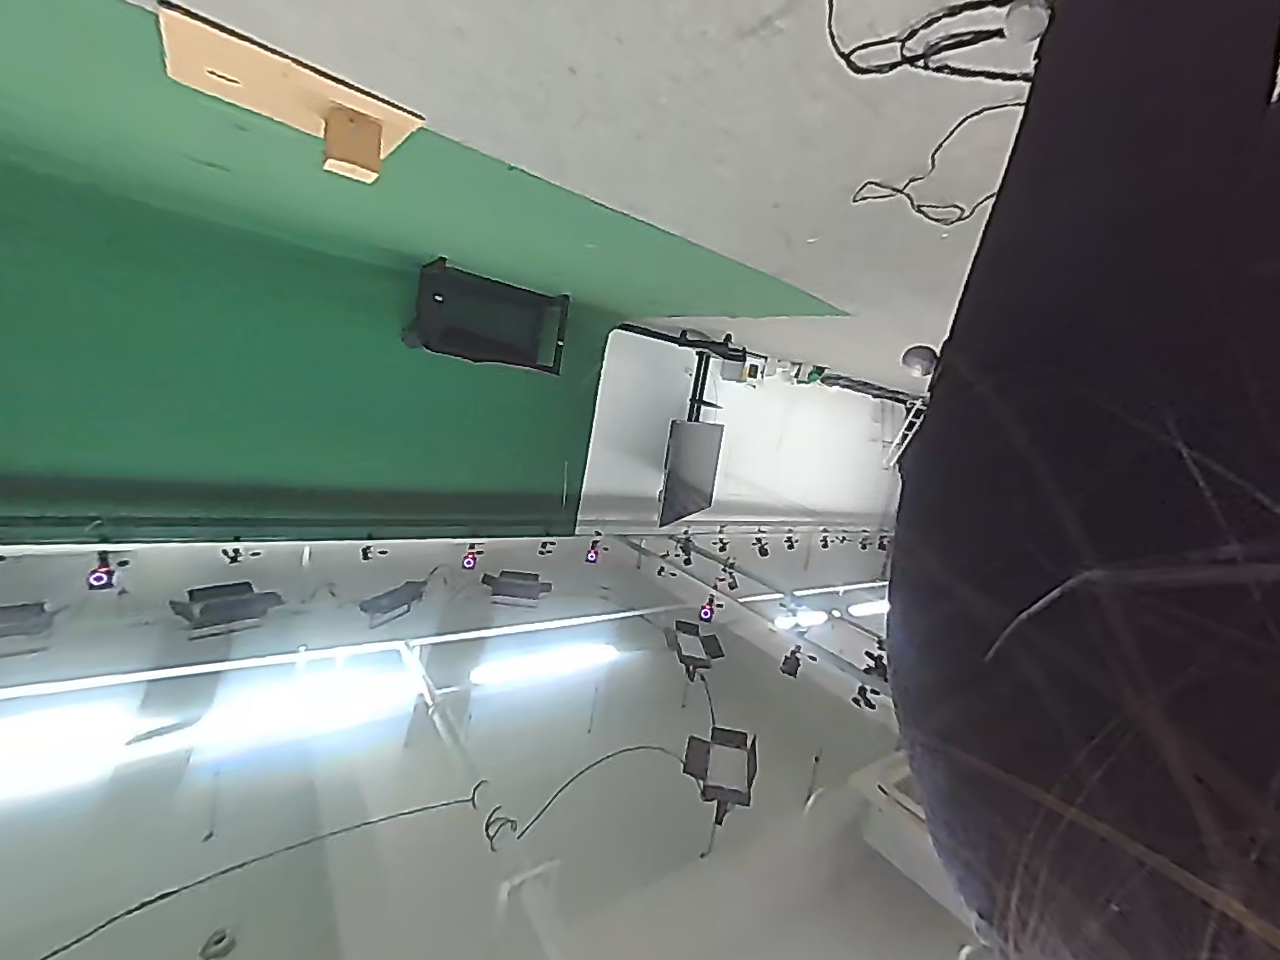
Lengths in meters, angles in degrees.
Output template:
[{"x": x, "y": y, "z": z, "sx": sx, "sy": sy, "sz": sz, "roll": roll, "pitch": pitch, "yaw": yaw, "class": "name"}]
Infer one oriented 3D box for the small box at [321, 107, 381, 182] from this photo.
[{"x": -1.070, "y": -1.238, "z": 2.002, "sx": 0.168, "sy": 0.176, "sz": 0.179, "roll": 1, "pitch": -168, "yaw": -38, "class": "small box"}]
